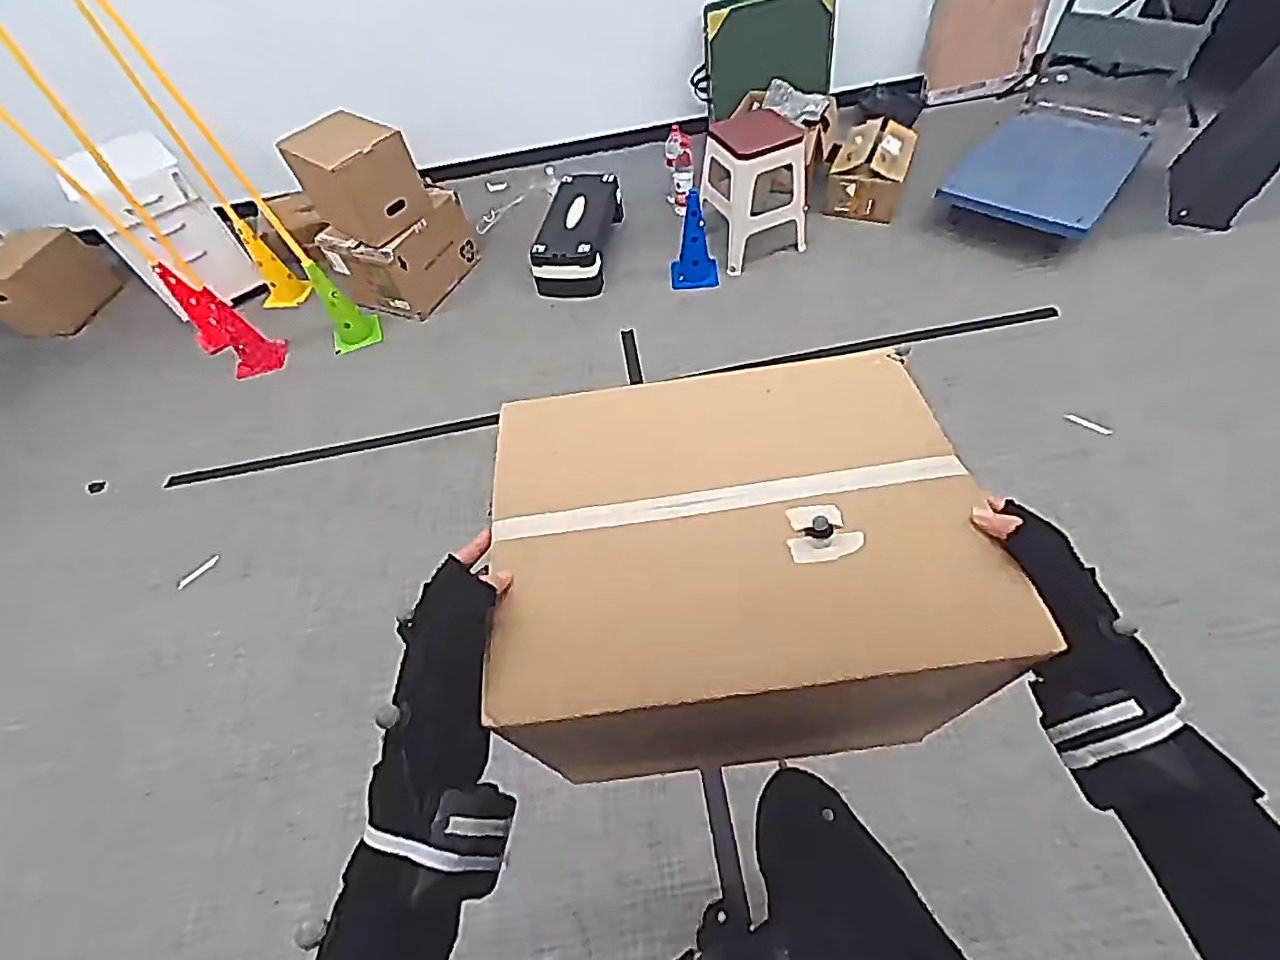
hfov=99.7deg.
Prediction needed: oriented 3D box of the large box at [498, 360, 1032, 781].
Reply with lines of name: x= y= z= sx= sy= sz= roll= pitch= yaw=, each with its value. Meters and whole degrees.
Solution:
large box: x=0.087 y=0.111 z=0.598 sx=0.408 sy=0.320 sz=0.320 roll=-8 pitch=53 yaw=1
